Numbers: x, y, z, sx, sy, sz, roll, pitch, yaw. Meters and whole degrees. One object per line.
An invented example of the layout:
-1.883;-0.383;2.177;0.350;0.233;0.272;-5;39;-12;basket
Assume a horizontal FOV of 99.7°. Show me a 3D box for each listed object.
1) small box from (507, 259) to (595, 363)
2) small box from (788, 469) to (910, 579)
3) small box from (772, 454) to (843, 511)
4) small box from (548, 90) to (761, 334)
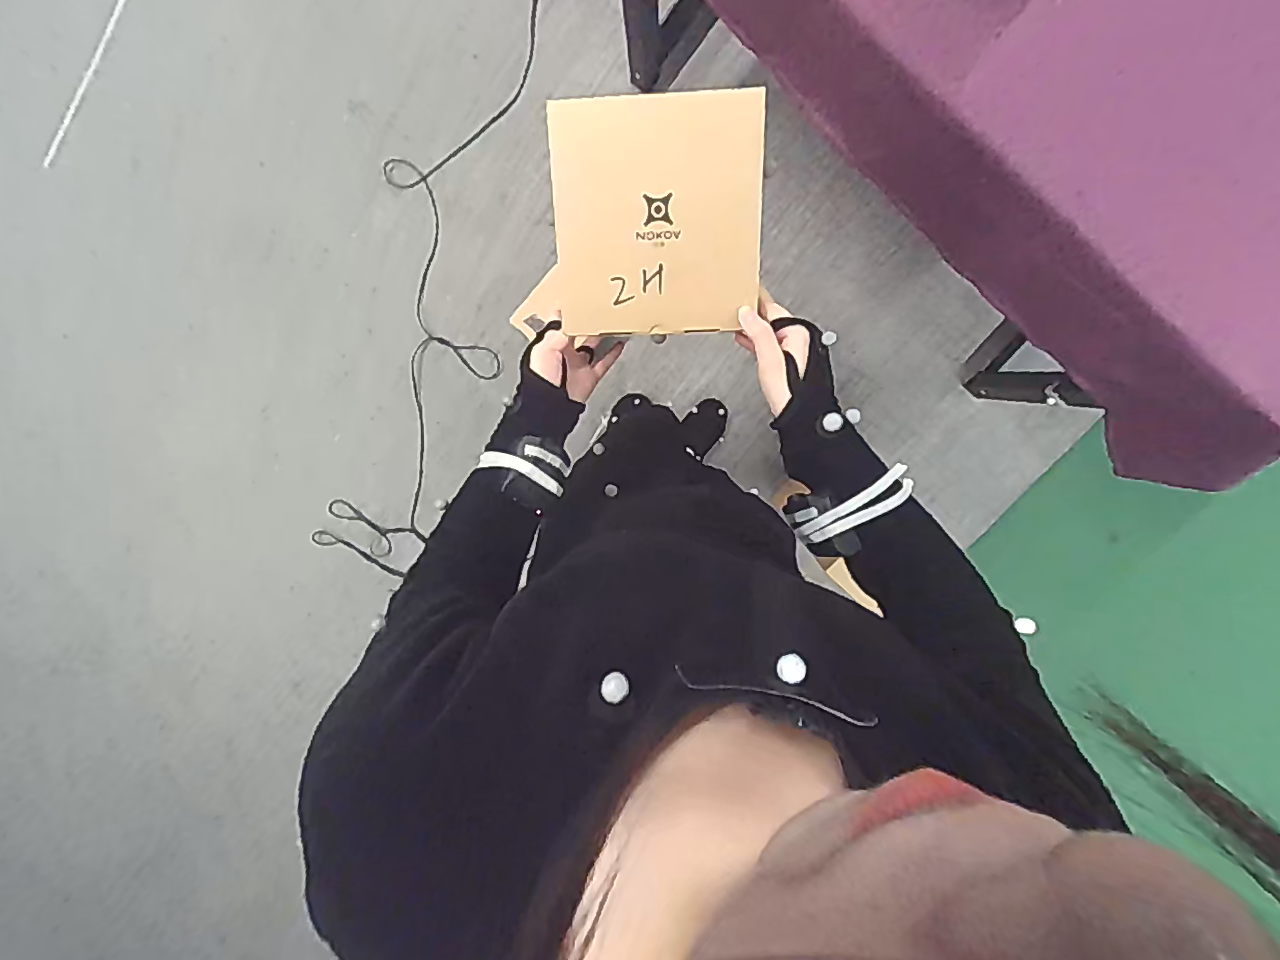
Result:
-0.192;-0.405;1.329;0.168;0.176;0.179;42;99;-8;small box
0.472;0.091;1.252;0.179;0.176;0.168;40;102;-8;small box
0.471;0.049;1.409;0.179;0.176;0.168;43;100;-8;small box
0.015;-0.235;0.510;0.168;0.176;0.179;-1;110;4;small box
